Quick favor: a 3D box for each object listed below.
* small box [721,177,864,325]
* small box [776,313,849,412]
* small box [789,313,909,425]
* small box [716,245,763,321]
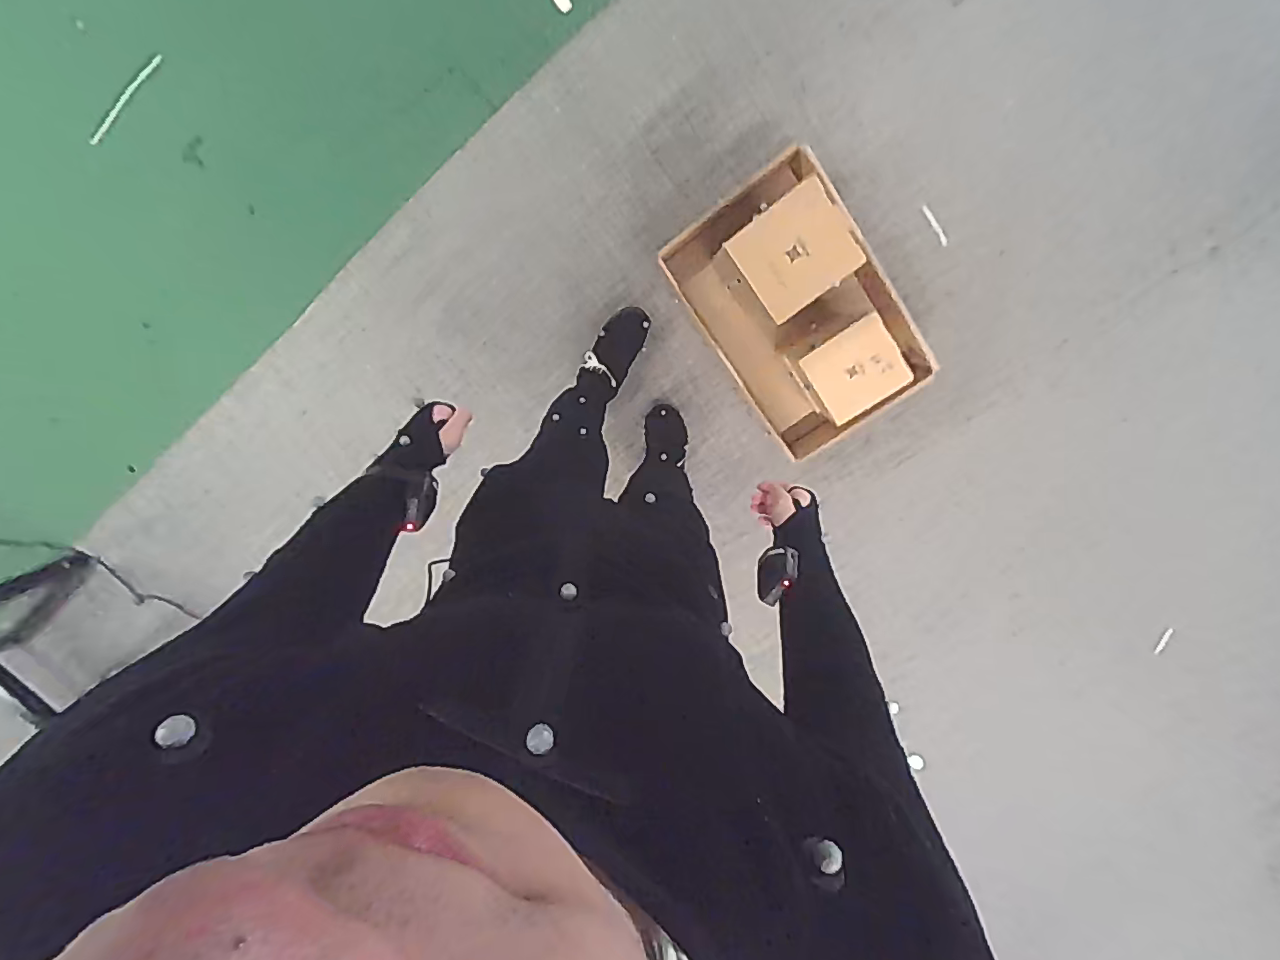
[{"bbox_3d":[0.261,-0.400,0.969,0.179,0.176,0.168,-34,102,15],"label":"small box"},{"bbox_3d":[0.452,-0.292,1.334,0.179,0.176,0.168,-33,101,14],"label":"small box"},{"bbox_3d":[0.440,-0.244,1.176,0.179,0.176,0.168,-32,102,13],"label":"small box"},{"bbox_3d":[0.273,-0.452,1.123,0.179,0.176,0.168,-34,102,14],"label":"small box"}]
